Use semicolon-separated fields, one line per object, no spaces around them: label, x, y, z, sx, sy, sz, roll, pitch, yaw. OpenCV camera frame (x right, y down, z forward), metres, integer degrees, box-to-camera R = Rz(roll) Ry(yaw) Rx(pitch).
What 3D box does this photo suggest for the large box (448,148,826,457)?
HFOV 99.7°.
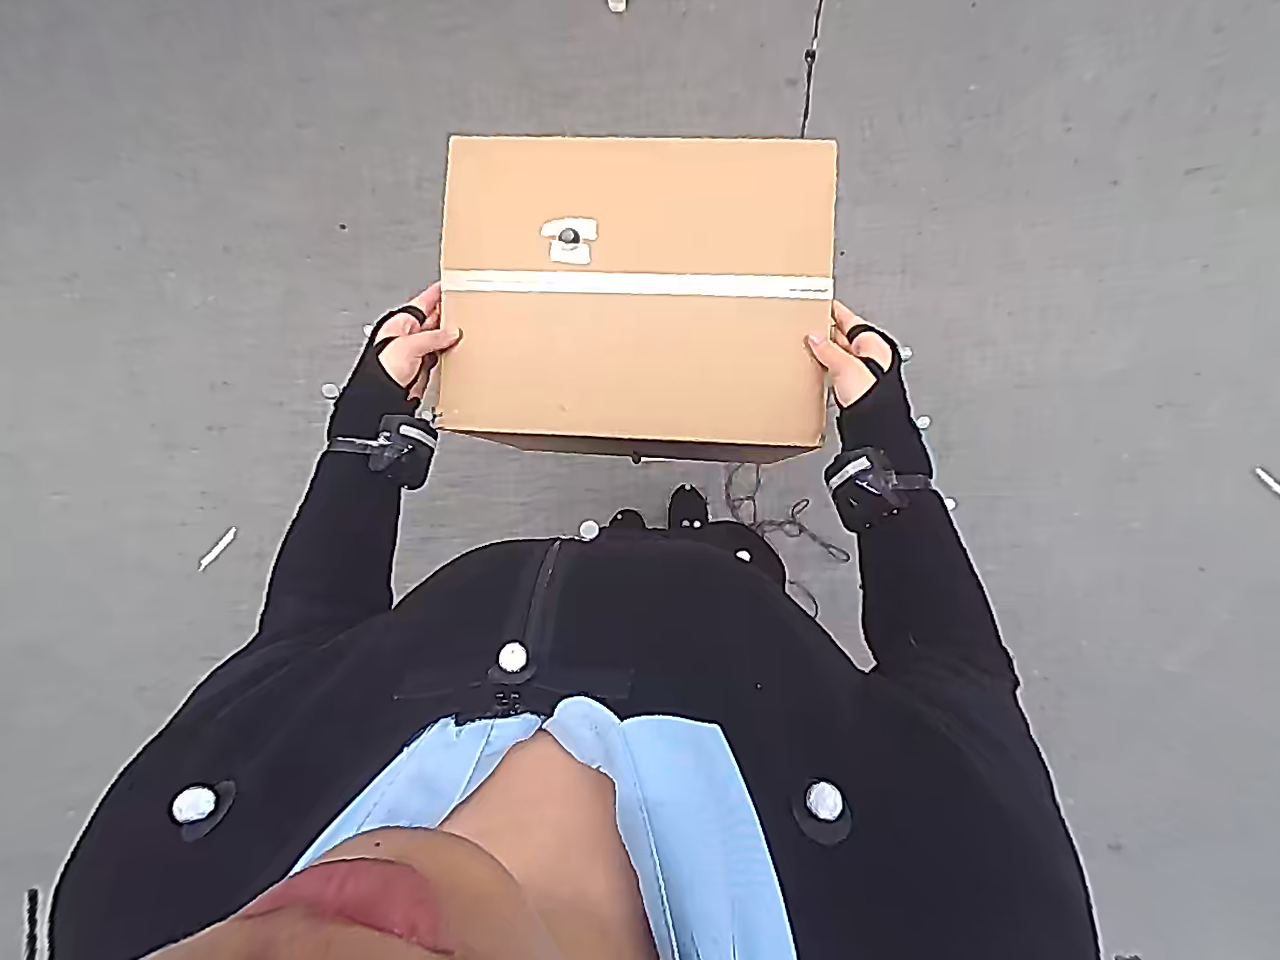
large box;0.006;-0.194;0.721;0.408;0.320;0.320;2;88;4
